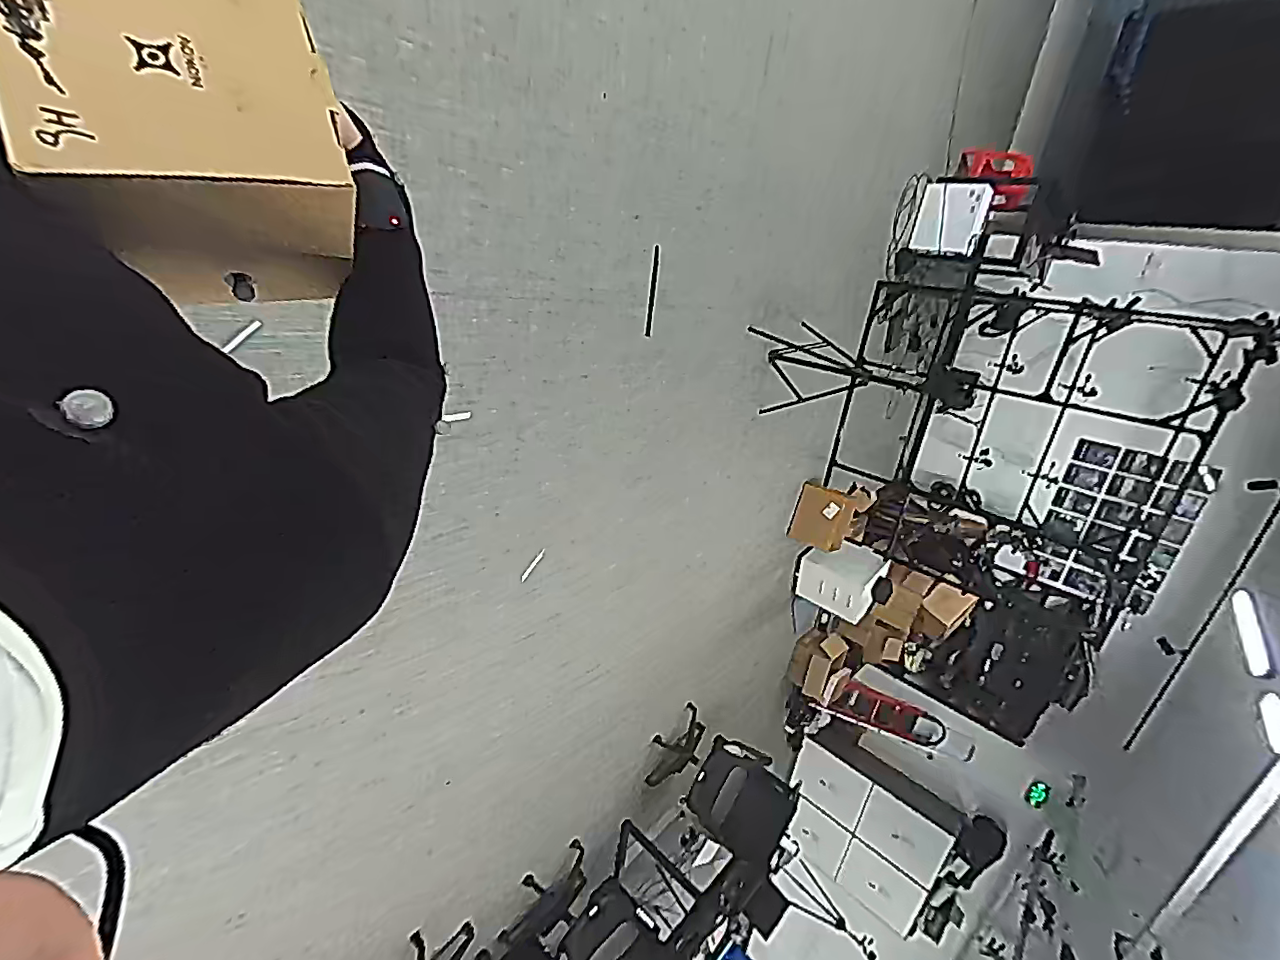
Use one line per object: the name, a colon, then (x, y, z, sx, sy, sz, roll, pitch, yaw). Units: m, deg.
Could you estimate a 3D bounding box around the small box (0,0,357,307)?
small box: (-0.346, -0.255, 0.433, 0.179, 0.176, 0.168, -16, 86, -31)
